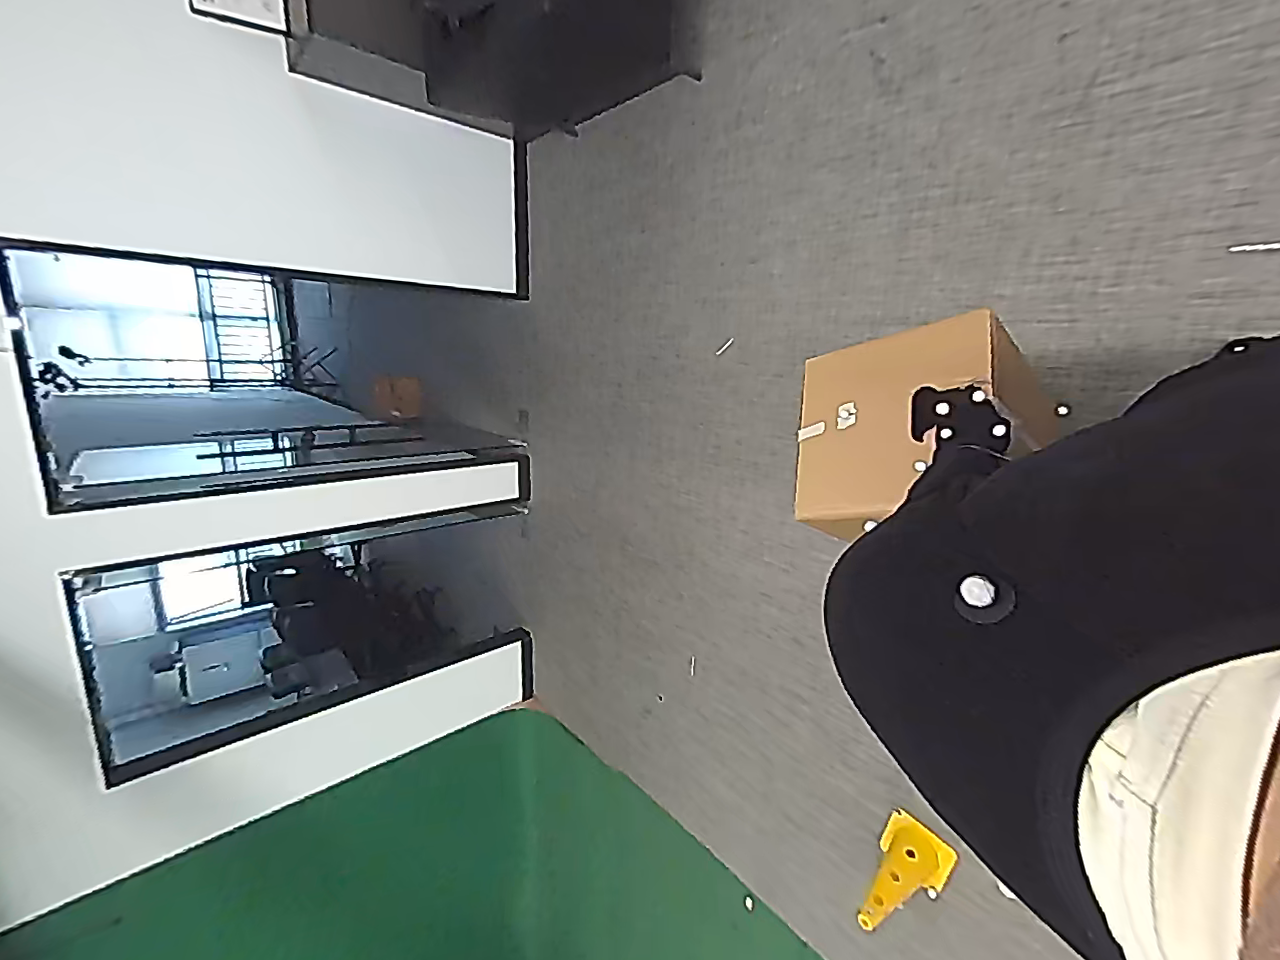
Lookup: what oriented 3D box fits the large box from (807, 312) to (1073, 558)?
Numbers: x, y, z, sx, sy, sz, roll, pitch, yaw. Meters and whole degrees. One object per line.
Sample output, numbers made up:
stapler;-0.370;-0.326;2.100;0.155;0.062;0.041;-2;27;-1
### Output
large box;0.549;-0.041;0.997;0.320;0.408;0.320;-9;68;47
